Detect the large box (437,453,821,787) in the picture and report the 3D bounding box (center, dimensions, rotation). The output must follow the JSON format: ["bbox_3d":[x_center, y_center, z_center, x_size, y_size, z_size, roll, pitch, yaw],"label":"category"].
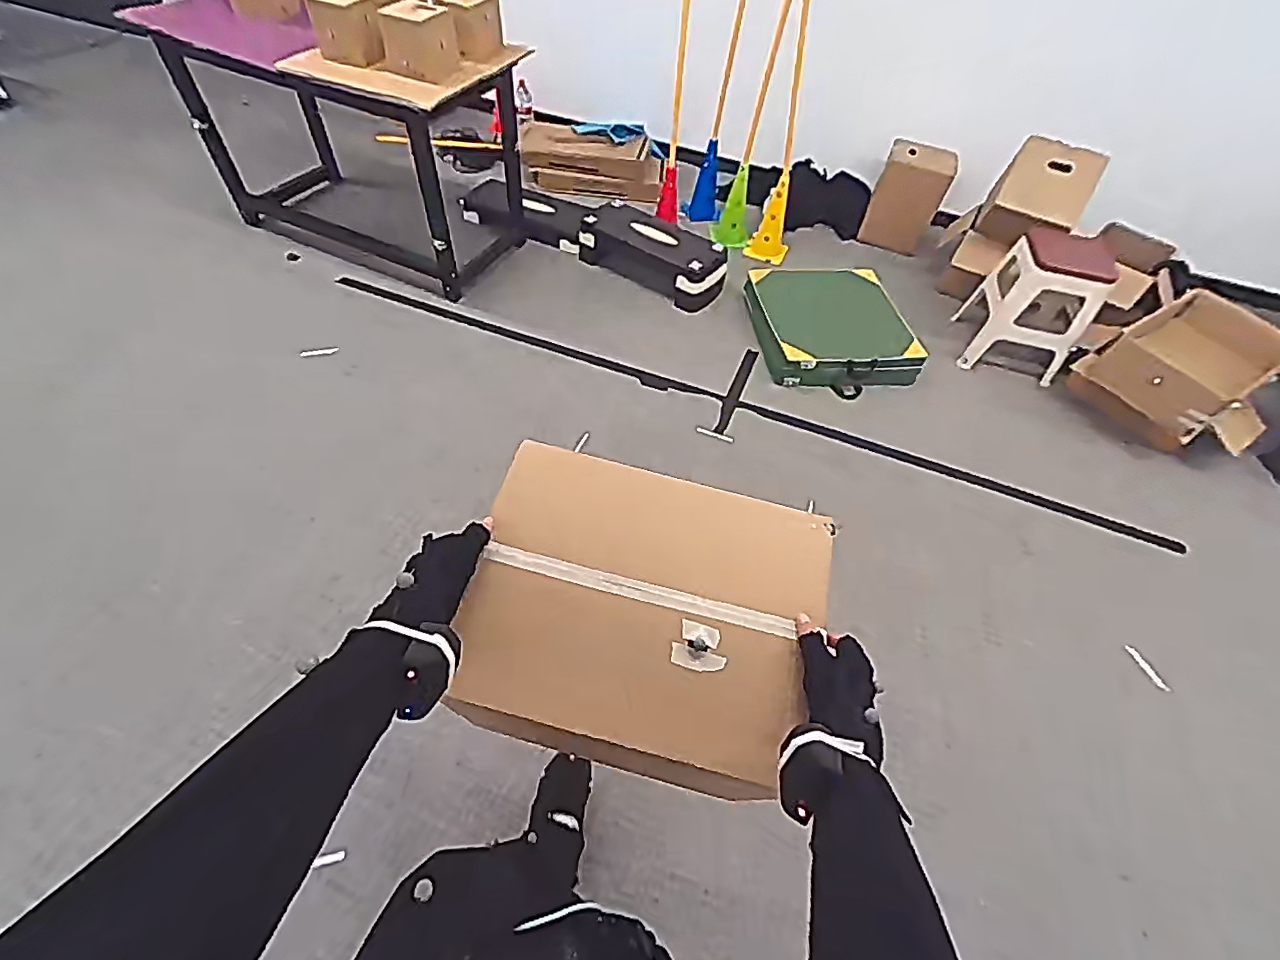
[{"bbox_3d":[-0.006,0.209,0.758,0.408,0.320,0.320,15,60,2],"label":"large box"}]
